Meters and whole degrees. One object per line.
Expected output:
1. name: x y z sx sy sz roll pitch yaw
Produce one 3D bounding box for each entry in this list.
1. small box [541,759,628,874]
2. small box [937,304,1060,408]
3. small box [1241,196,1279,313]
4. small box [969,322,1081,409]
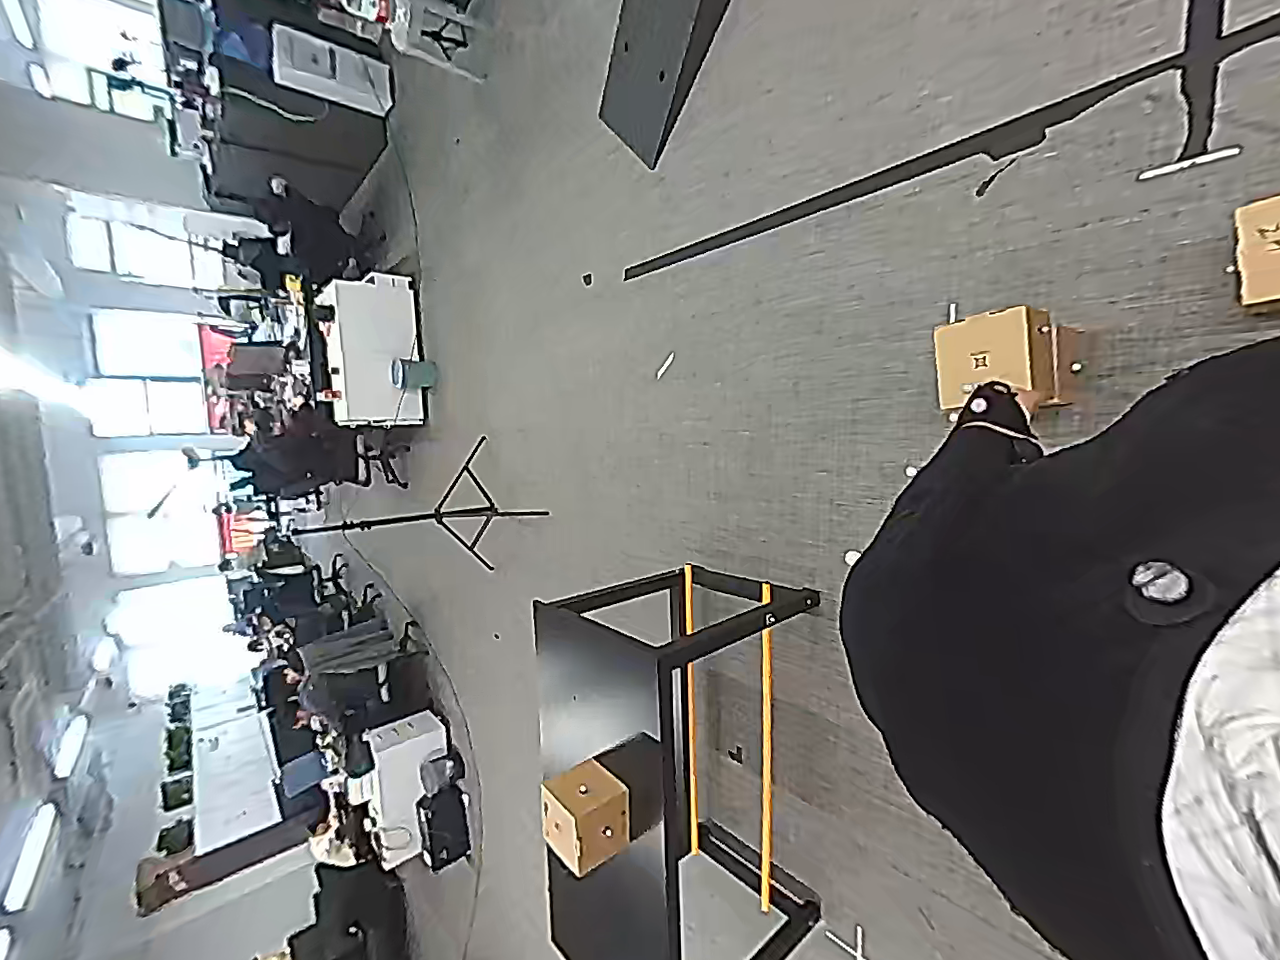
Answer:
1. small box: -0.144 0.886 1.445 0.179 0.176 0.168 8 101 49
2. small box: 0.739 -0.246 1.114 0.168 0.176 0.179 -4 93 51
3. small box: 1.126 -0.385 0.890 0.179 0.176 0.168 -4 92 50
4. small box: 0.863 -0.249 1.219 0.179 0.176 0.168 1 96 49
